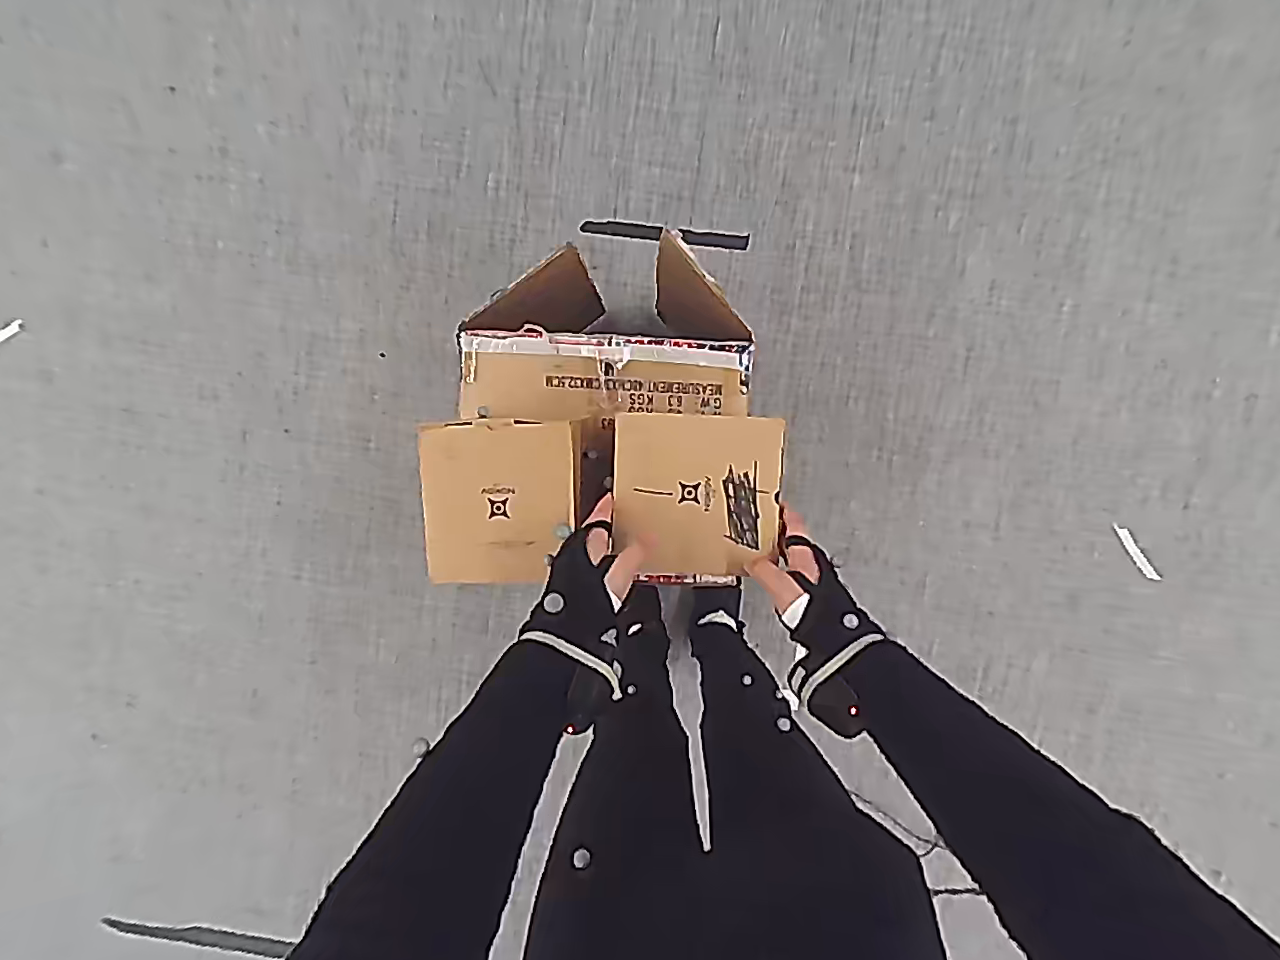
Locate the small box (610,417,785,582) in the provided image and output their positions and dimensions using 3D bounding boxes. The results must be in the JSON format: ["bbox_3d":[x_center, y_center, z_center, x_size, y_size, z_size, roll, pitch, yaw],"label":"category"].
[{"bbox_3d":[0.059,0.019,0.638,0.179,0.176,0.168,3,90,0],"label":"small box"}]

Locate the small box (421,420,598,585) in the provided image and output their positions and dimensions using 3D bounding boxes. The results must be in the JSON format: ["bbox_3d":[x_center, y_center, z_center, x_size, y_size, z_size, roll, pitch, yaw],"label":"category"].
[{"bbox_3d":[-0.144,0.016,0.656,0.168,0.176,0.179,-1,99,4],"label":"small box"}]
